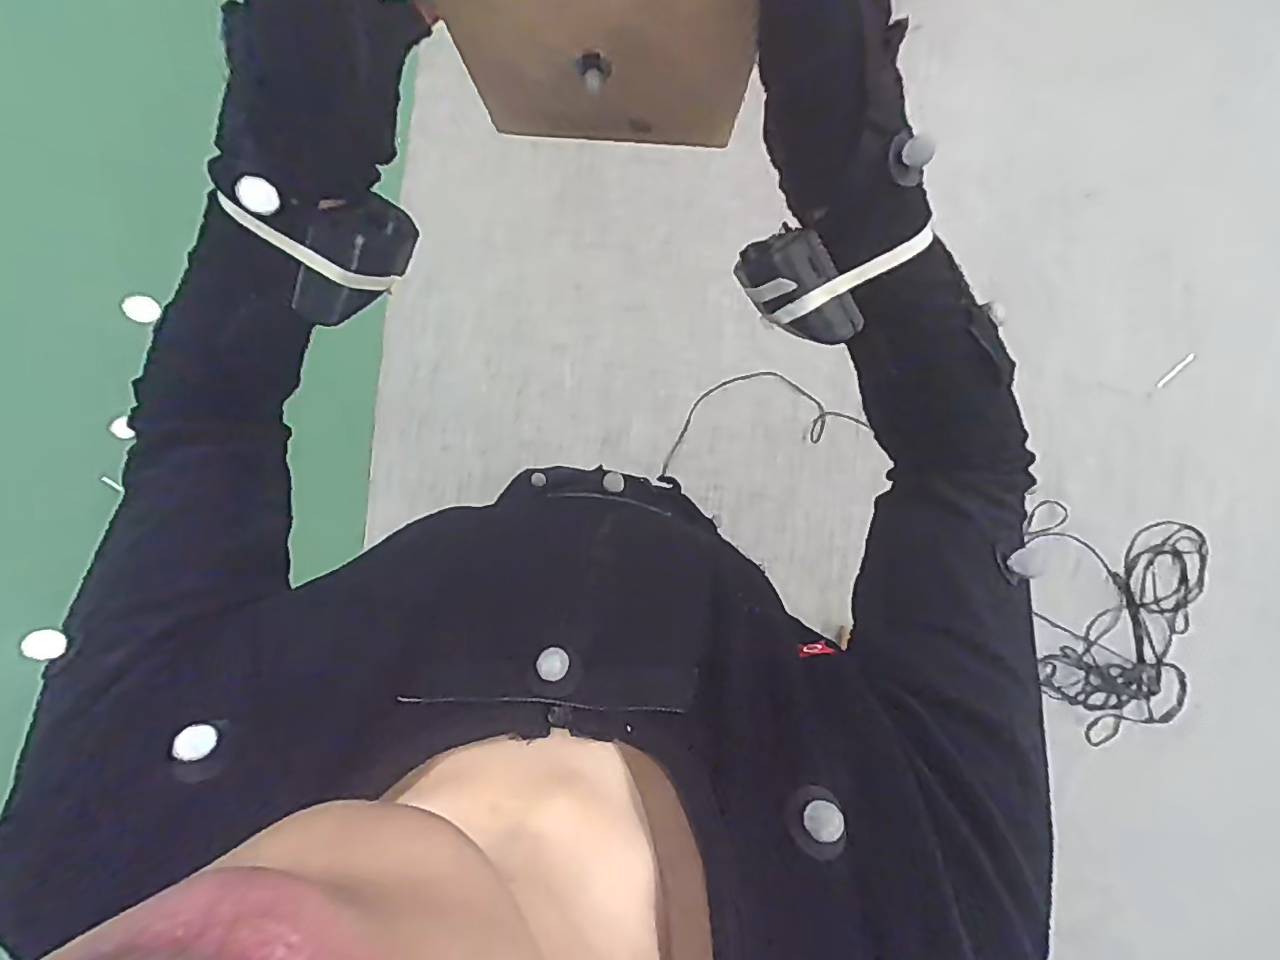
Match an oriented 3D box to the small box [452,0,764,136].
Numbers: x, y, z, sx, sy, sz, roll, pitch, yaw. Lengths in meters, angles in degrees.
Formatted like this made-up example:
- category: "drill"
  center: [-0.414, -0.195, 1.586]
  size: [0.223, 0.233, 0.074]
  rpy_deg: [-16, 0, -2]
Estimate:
- category: "small box"
  center: [-0.011, -0.324, 0.297]
  size: [0.168, 0.176, 0.179]
  rpy_deg: [4, 94, -1]
